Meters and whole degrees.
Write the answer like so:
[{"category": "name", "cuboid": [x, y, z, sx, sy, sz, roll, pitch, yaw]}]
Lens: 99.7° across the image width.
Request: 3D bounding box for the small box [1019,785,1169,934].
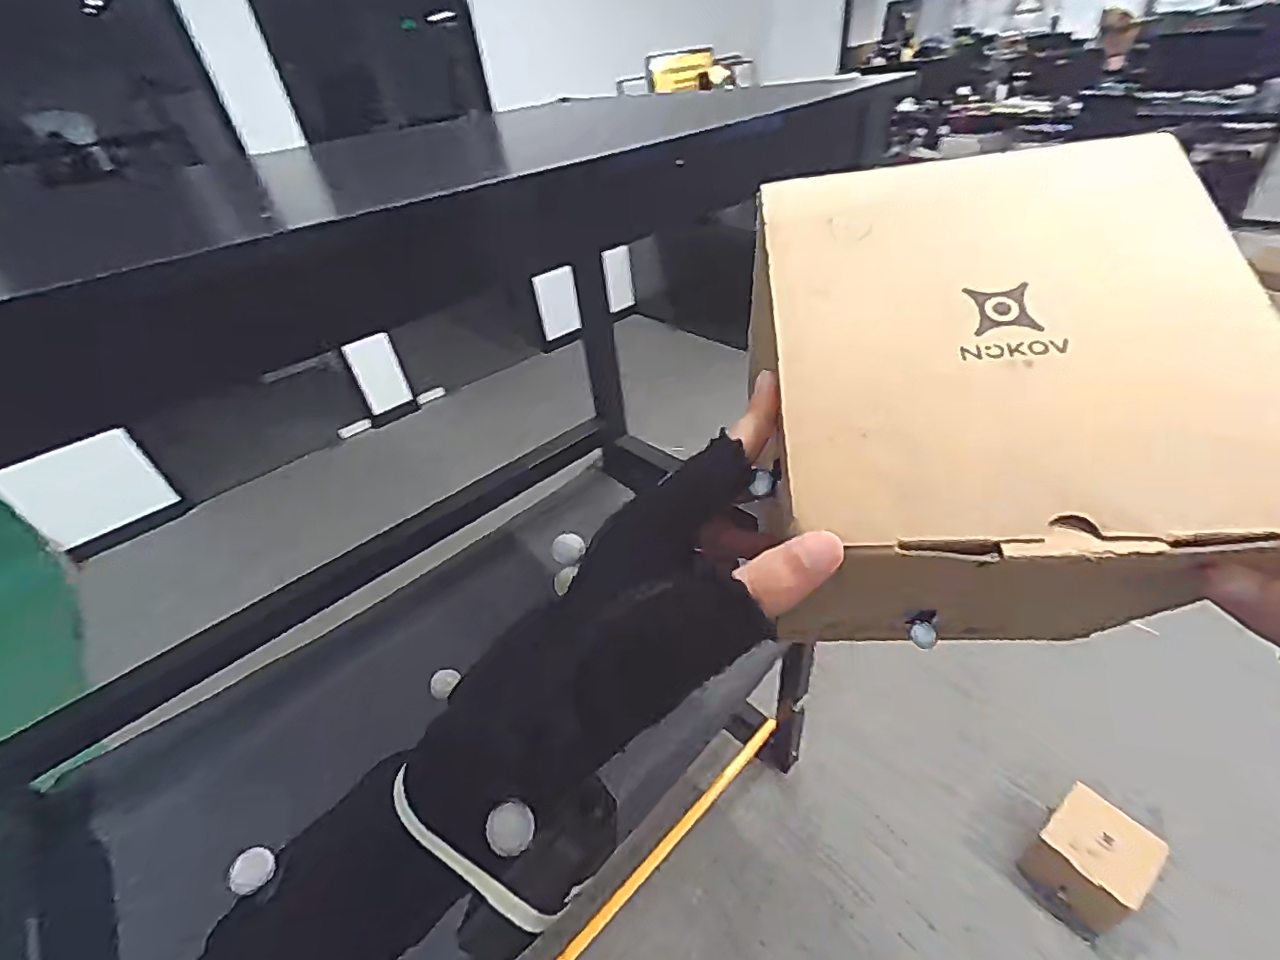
[{"category": "small box", "cuboid": [0.946, 0.799, 1.142, 0.179, 0.176, 0.168, -29, 42, -24]}]
